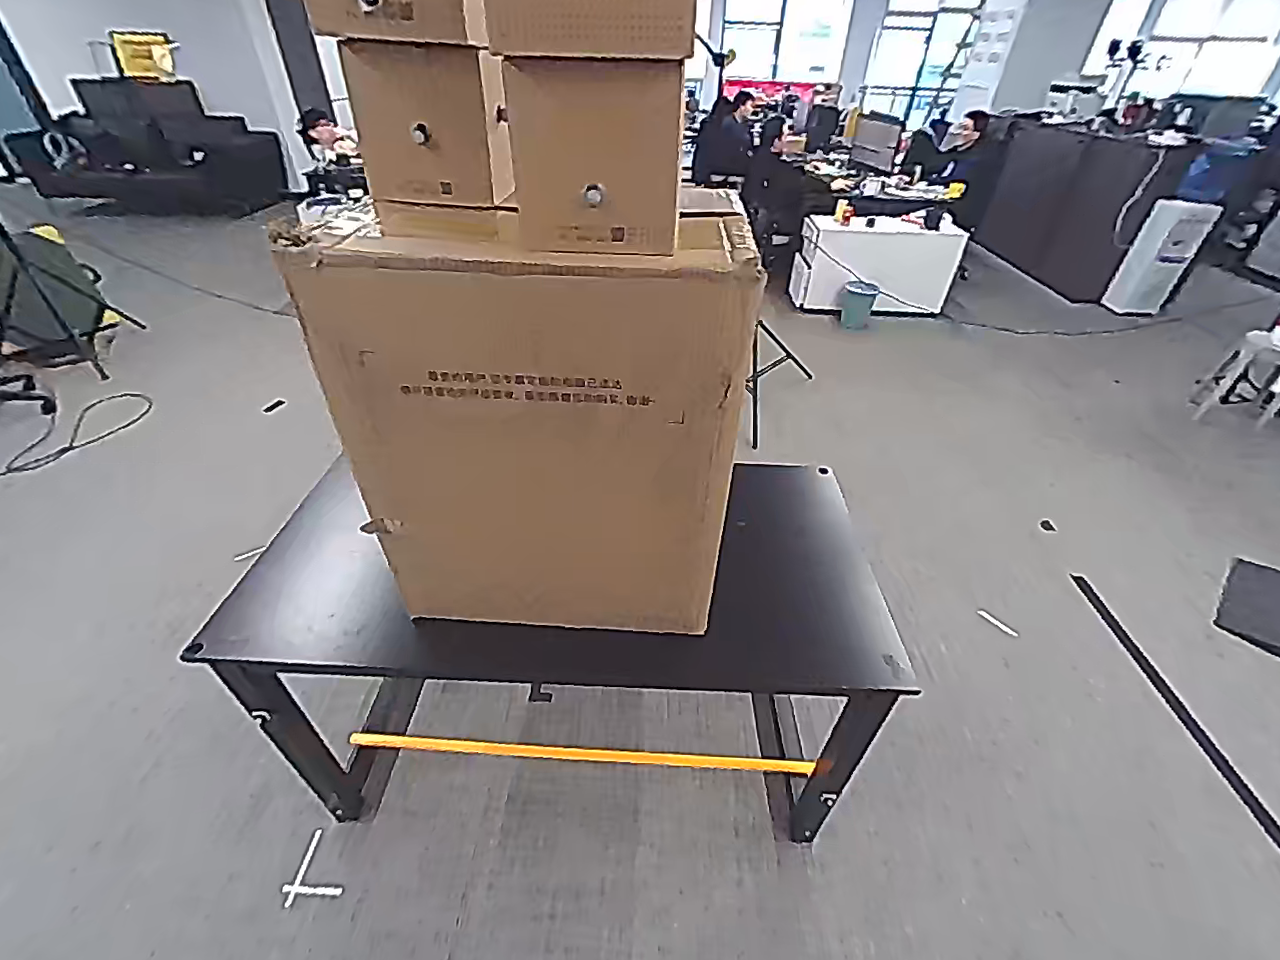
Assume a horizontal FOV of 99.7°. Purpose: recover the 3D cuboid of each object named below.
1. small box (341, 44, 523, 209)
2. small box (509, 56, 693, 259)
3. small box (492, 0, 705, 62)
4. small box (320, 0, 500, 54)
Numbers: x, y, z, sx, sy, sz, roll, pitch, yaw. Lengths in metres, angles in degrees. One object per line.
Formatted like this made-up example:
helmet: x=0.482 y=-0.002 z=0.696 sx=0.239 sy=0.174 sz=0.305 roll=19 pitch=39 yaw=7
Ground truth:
small box: x=-0.257 y=-0.473 z=0.722 sx=0.168 sy=0.176 sz=0.179 roll=4 pitch=38 yaw=0
small box: x=-0.032 y=-0.356 z=0.592 sx=0.168 sy=0.176 sz=0.179 roll=3 pitch=39 yaw=3
small box: x=-0.033 y=-0.466 z=0.465 sx=0.179 sy=0.176 sz=0.168 roll=2 pitch=39 yaw=0
small box: x=-0.255 y=-0.580 z=0.595 sx=0.168 sy=0.176 sz=0.179 roll=1 pitch=38 yaw=-1
